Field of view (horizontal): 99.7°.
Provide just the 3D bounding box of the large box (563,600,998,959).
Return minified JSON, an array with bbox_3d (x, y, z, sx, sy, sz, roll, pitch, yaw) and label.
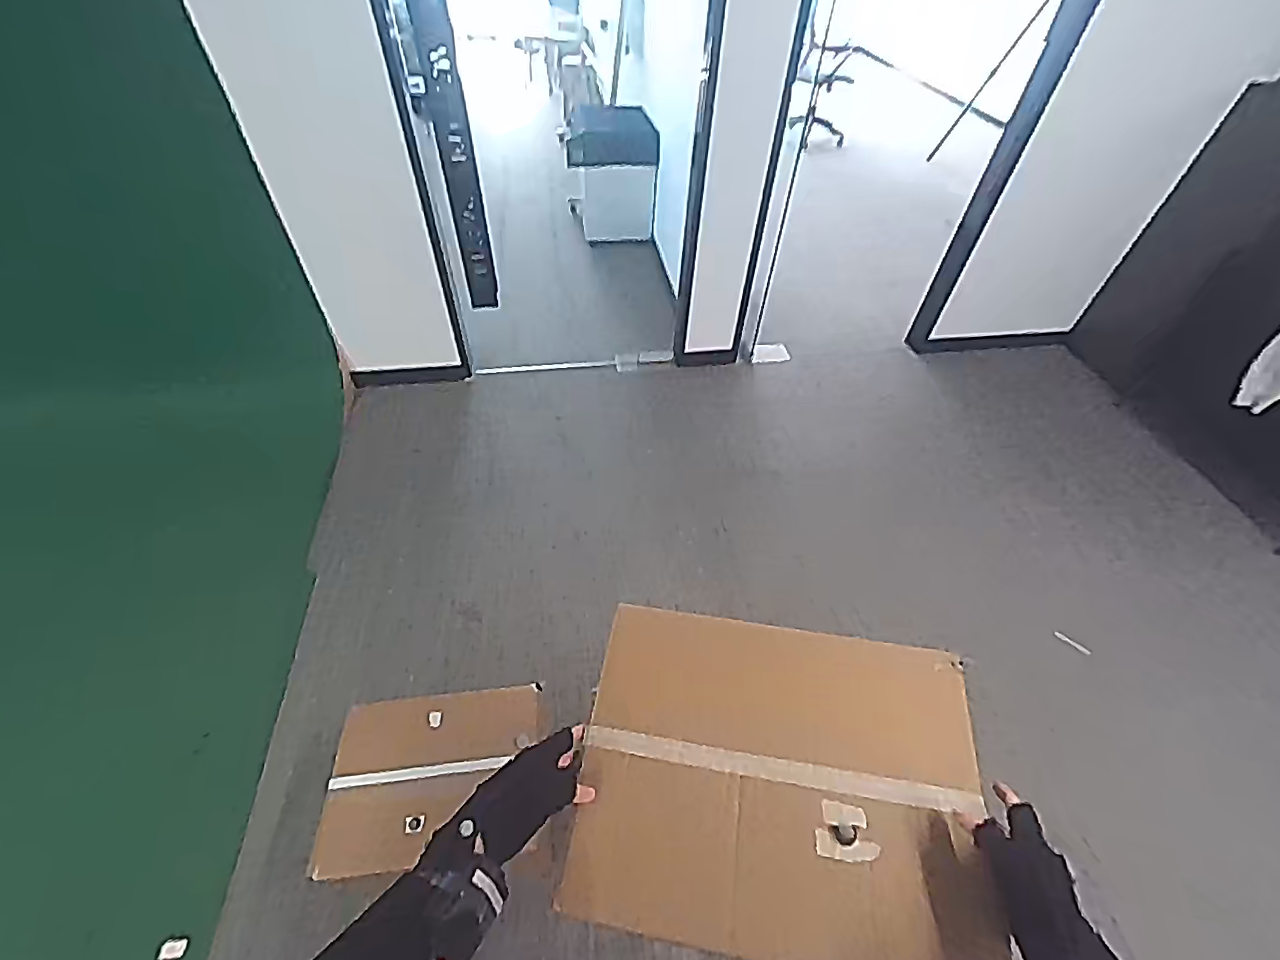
[{"bbox_3d":[0.147,0.384,0.700,0.408,0.320,0.320,7,54,8],"label":"large box"}]
